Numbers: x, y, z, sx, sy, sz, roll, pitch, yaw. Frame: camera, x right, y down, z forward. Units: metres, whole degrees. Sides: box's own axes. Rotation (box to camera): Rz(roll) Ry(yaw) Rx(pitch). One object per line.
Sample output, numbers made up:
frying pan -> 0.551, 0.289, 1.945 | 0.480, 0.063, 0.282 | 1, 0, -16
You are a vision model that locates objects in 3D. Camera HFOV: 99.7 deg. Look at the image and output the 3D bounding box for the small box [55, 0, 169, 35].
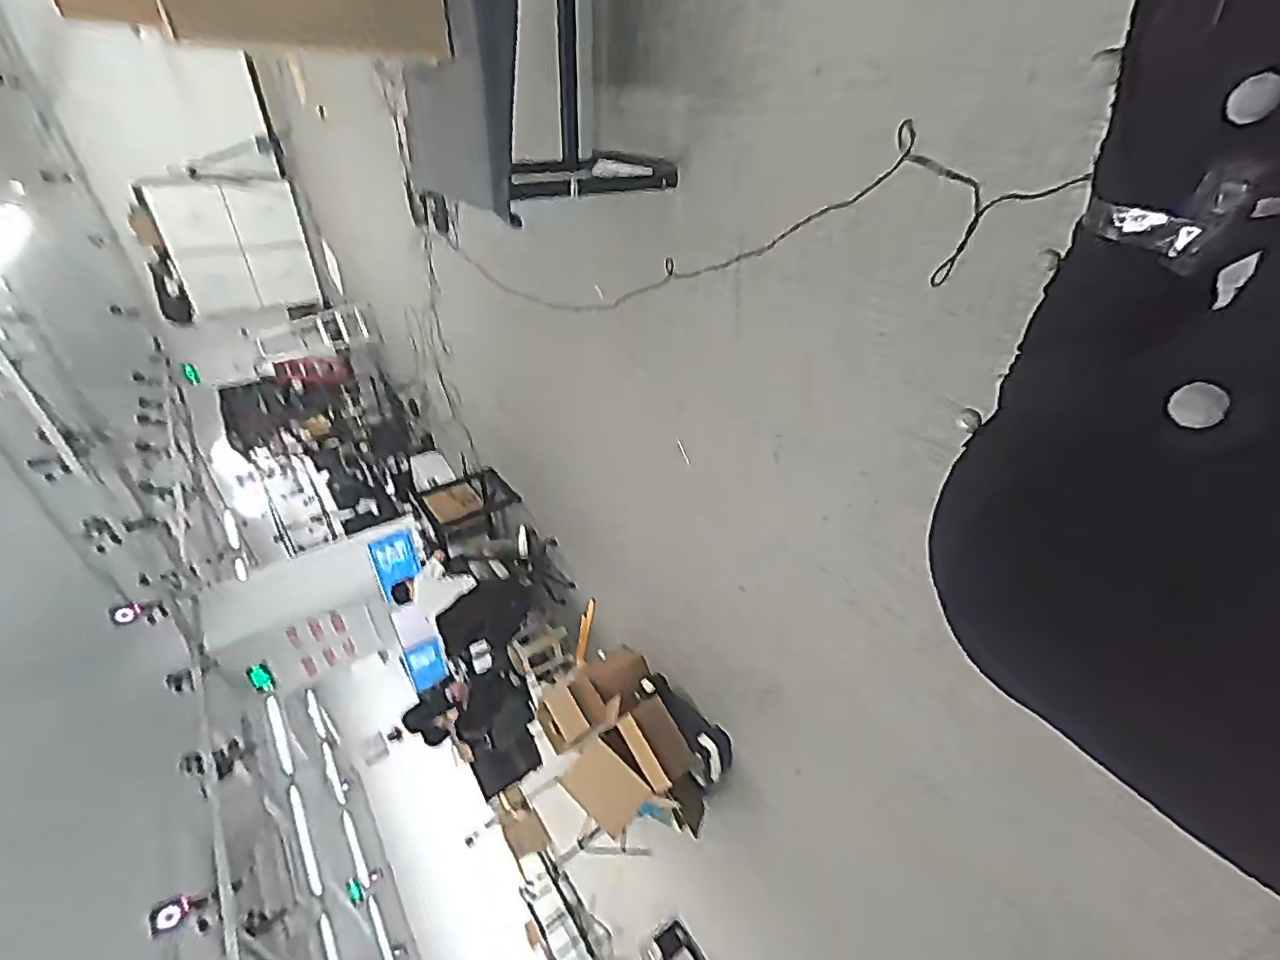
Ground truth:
small box -> -1.121, -1.048, 1.117 | 0.168, 0.176, 0.179 | 33, 135, 40
